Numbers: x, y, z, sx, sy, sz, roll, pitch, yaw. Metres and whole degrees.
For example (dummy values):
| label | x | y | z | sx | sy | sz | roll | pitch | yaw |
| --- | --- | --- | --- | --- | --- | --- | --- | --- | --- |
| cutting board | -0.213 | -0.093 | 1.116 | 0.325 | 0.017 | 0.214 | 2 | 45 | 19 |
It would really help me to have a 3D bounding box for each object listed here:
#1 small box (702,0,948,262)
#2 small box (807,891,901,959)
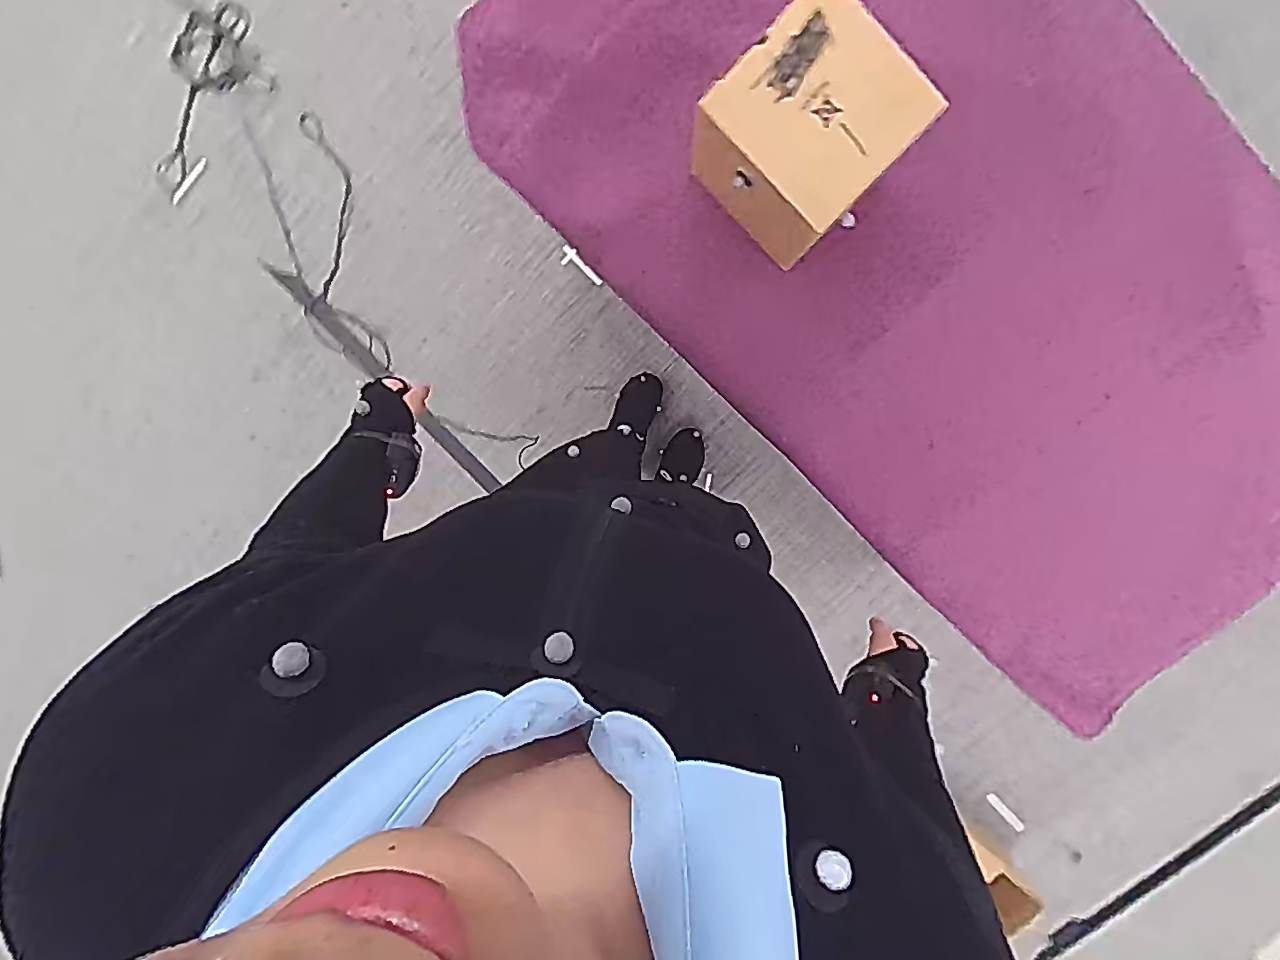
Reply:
| label | x | y | z | sx | sy | sz | roll | pitch | yaw |
| --- | --- | --- | --- | --- | --- | --- | --- | --- | --- |
| small box | 0.184 | -0.375 | 0.602 | 0.168 | 0.176 | 0.179 | -44 | 94 | 9 |
| small box | 0.600 | 1.310 | 1.520 | 0.179 | 0.176 | 0.168 | 42 | 99 | -4 |
